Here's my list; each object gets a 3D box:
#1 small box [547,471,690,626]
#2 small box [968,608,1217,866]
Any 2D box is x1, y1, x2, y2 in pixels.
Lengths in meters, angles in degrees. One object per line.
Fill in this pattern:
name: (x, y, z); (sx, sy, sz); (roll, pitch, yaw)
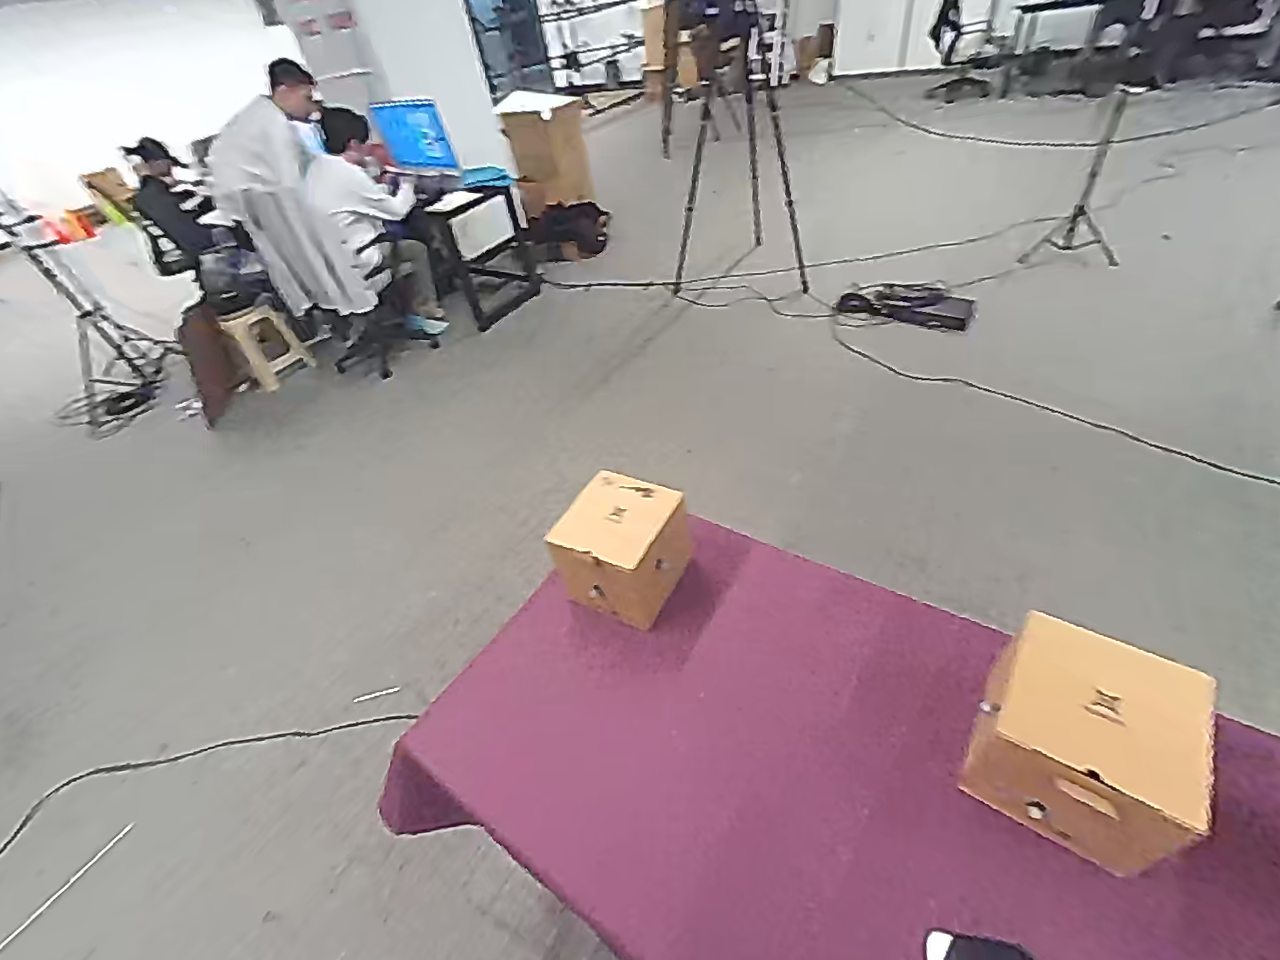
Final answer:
small box: (-0.024, 0.118, 0.921); (0.168, 0.176, 0.179); (16, 51, 27)
small box: (0.499, 0.288, 0.615); (0.168, 0.176, 0.179); (21, 53, 31)
